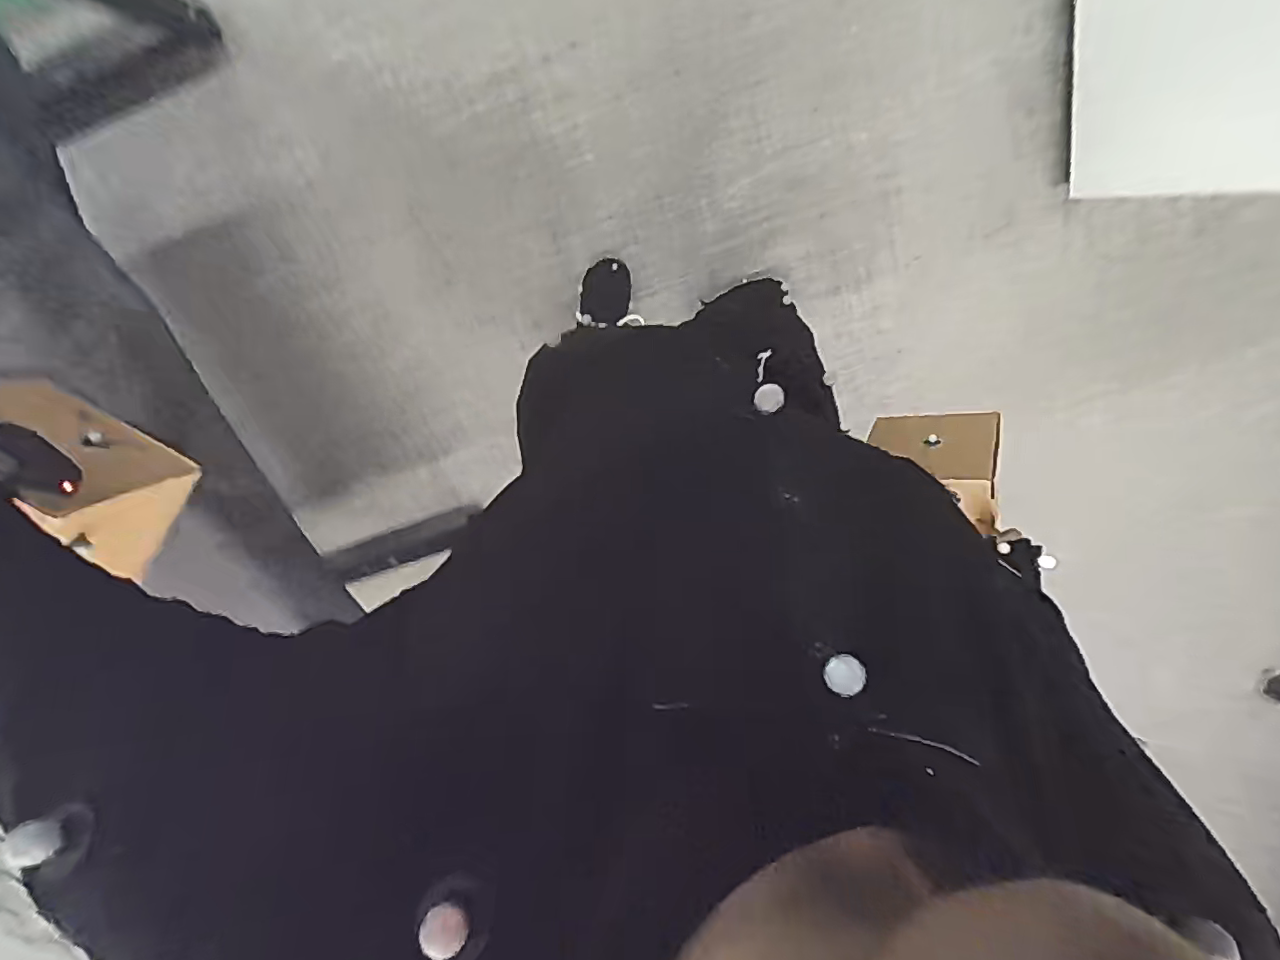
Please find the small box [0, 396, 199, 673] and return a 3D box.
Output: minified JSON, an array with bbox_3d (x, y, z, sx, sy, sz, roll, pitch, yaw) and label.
[{"bbox_3d":[-0.579,0.039,0.513,0.168,0.176,0.179,31,100,-11],"label":"small box"}]
